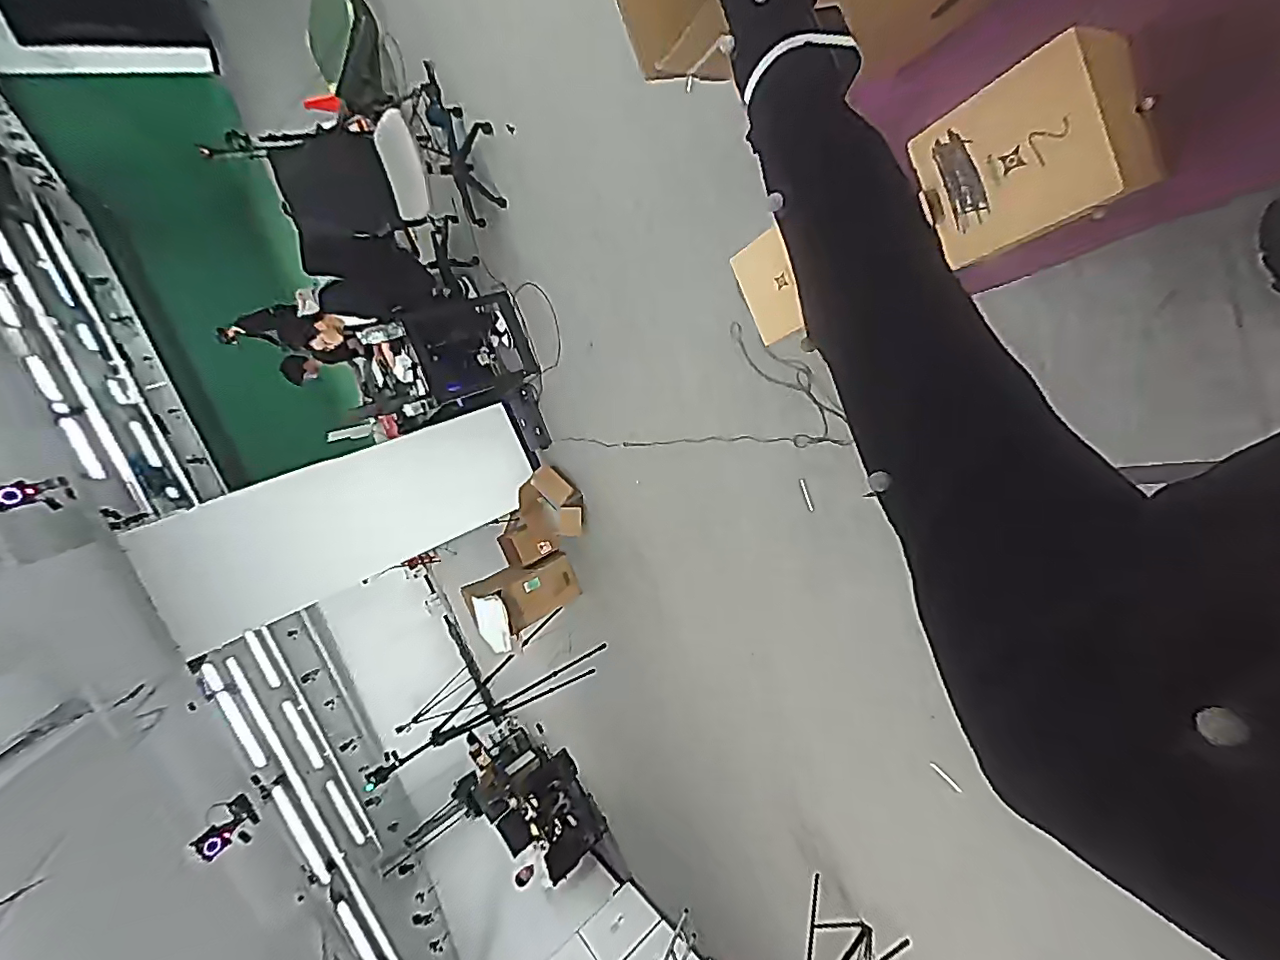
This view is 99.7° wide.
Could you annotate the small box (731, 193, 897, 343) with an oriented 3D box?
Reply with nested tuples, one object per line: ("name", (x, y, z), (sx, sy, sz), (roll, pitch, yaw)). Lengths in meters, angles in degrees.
("small box", (0.292, -0.354, 0.912), (0.179, 0.176, 0.168), (-17, 98, 58))
